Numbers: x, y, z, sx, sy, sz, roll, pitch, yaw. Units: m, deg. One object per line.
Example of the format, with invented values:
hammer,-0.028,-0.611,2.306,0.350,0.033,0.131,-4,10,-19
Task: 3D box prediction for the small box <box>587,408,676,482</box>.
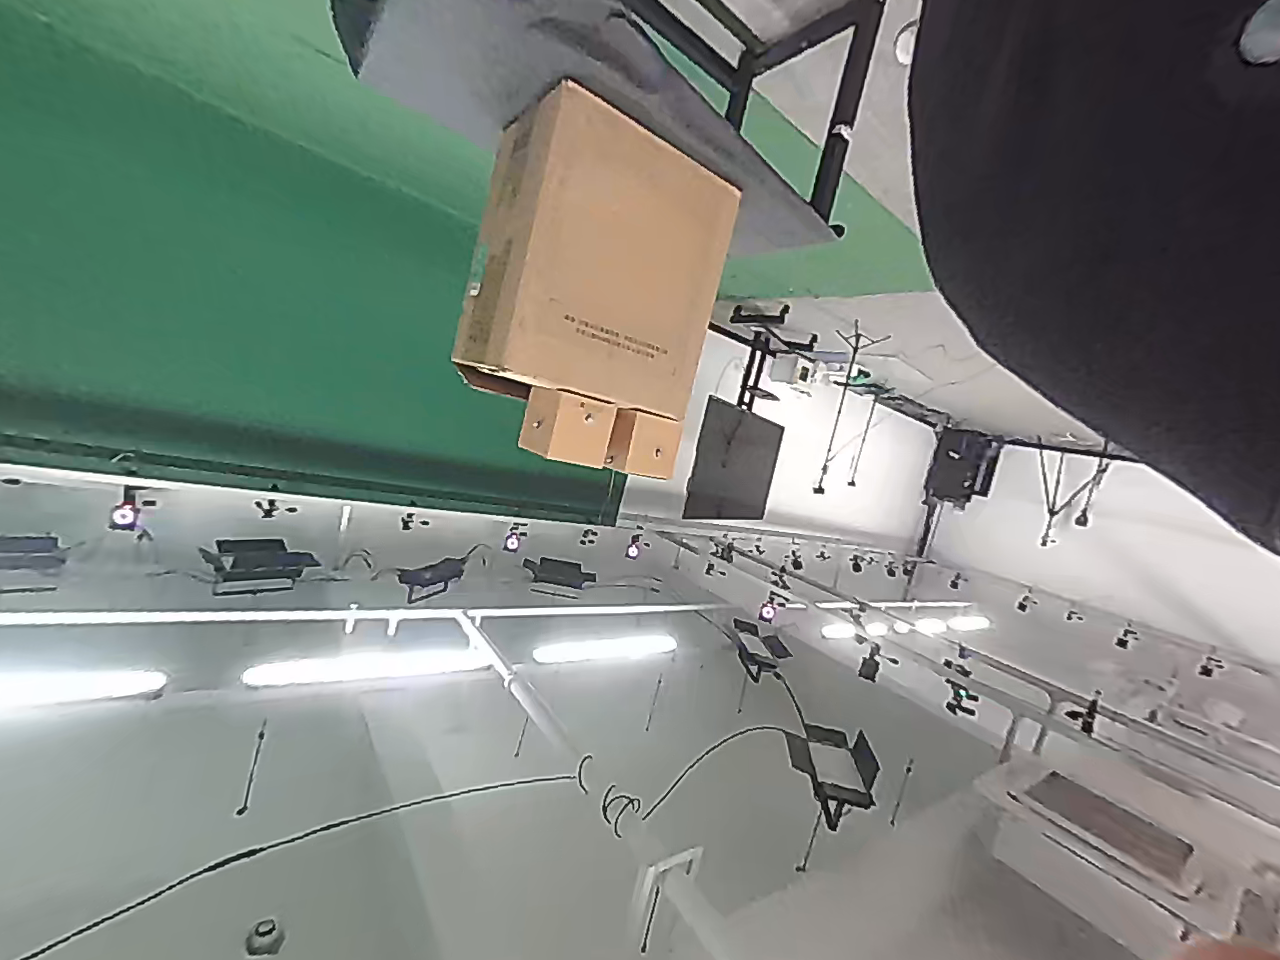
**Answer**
small box,-0.020,-0.099,1.516,0.179,0.176,0.168,8,-175,-44
